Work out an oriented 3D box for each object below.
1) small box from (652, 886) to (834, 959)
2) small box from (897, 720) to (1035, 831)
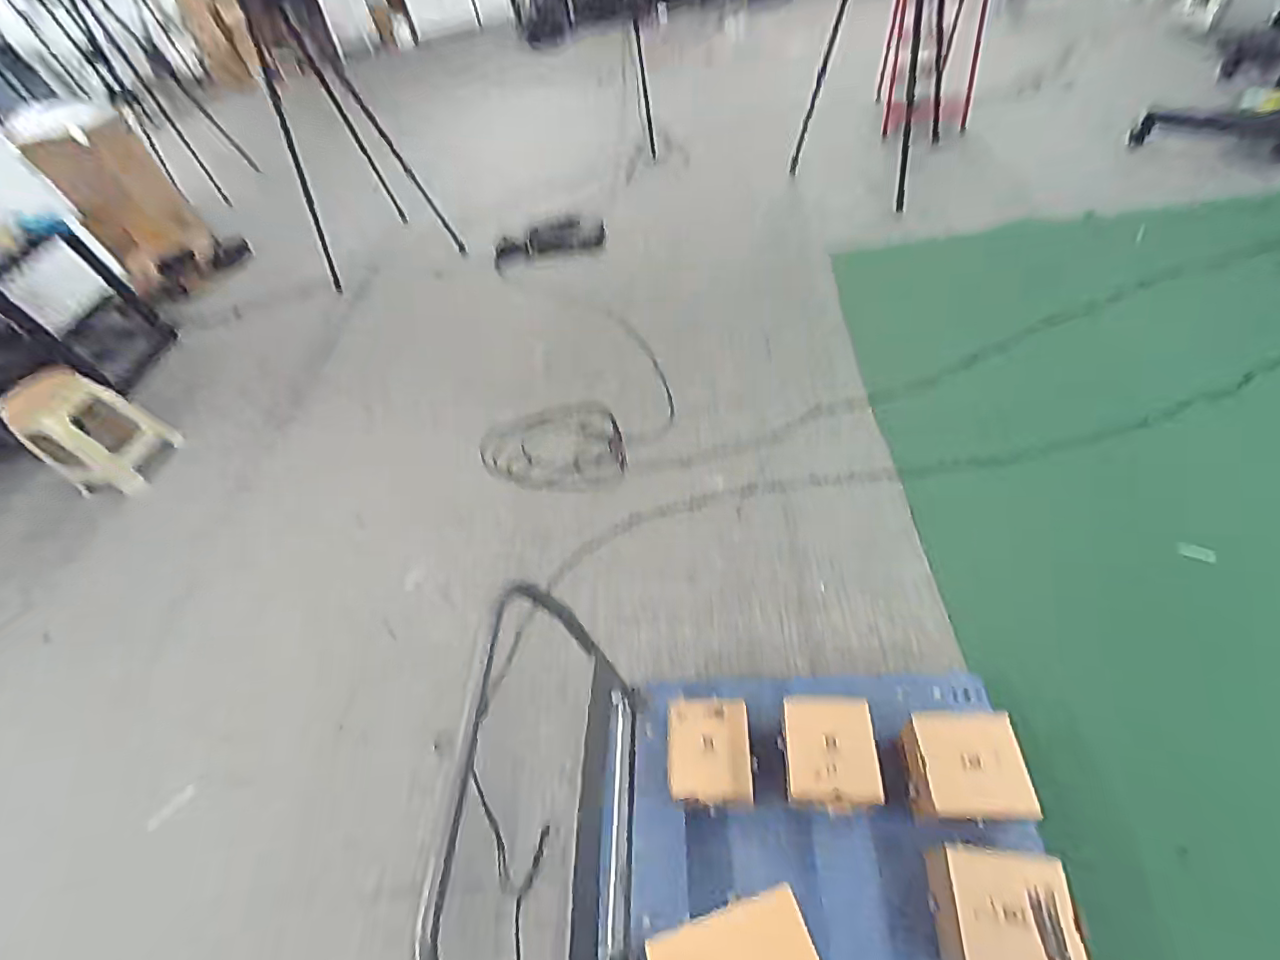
[{"bbox_3d":[0.101,0.559,0.573,0.179,0.176,0.168,7,53,15],"label":"small box"},{"bbox_3d":[0.615,0.576,1.051,0.179,0.176,0.168,-4,52,10],"label":"small box"}]
